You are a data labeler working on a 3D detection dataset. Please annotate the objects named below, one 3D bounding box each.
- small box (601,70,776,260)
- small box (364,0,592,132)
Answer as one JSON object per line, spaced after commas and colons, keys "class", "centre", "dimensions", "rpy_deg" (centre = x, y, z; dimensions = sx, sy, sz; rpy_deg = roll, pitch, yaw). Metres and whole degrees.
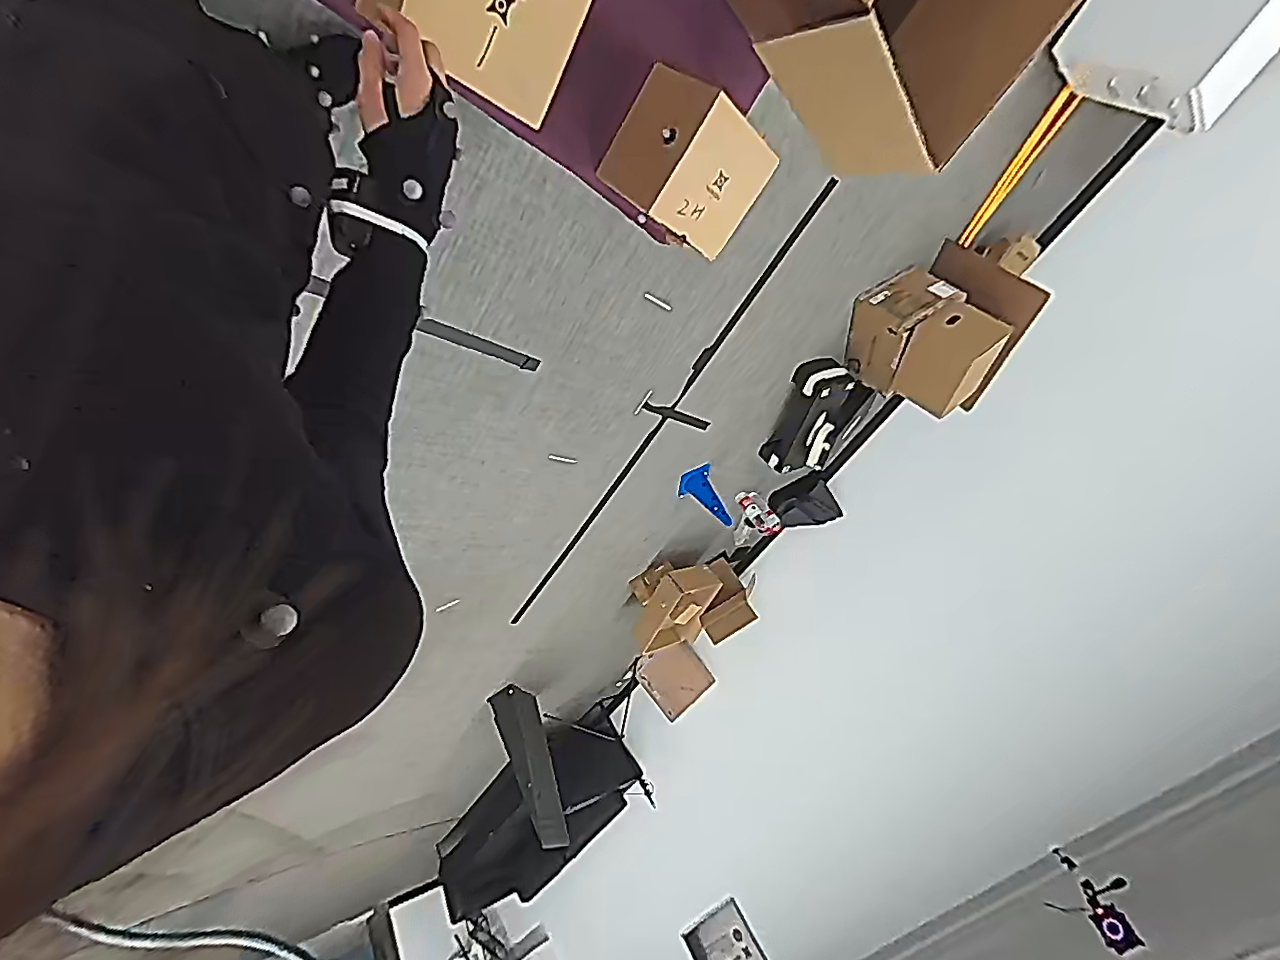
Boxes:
{"class": "small box", "centre": [0.068, -0.485, 0.837], "dimensions": [0.168, 0.176, 0.179], "rpy_deg": [11, 123, -47]}
{"class": "small box", "centre": [-0.173, -0.522, 0.572], "dimensions": [0.168, 0.176, 0.179], "rpy_deg": [5, 129, -45]}
